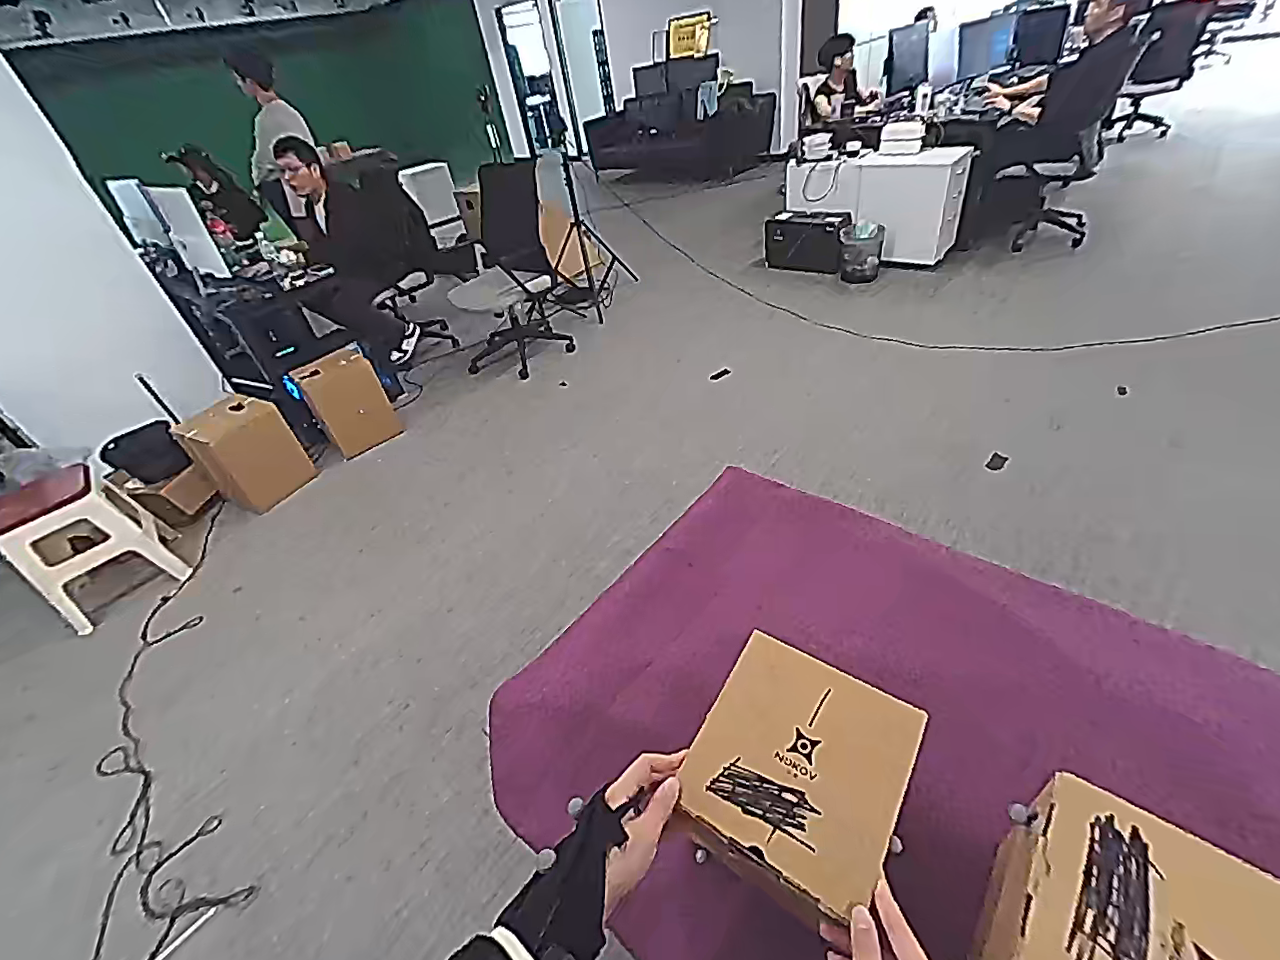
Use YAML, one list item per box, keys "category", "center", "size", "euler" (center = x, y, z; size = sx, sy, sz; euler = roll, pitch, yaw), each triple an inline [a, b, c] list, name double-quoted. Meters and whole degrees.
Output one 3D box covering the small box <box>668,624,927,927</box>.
- category: "small box"
  center: [0.147, 0.281, 0.519]
  size: [0.168, 0.176, 0.179]
  euler: [22, 53, 28]
